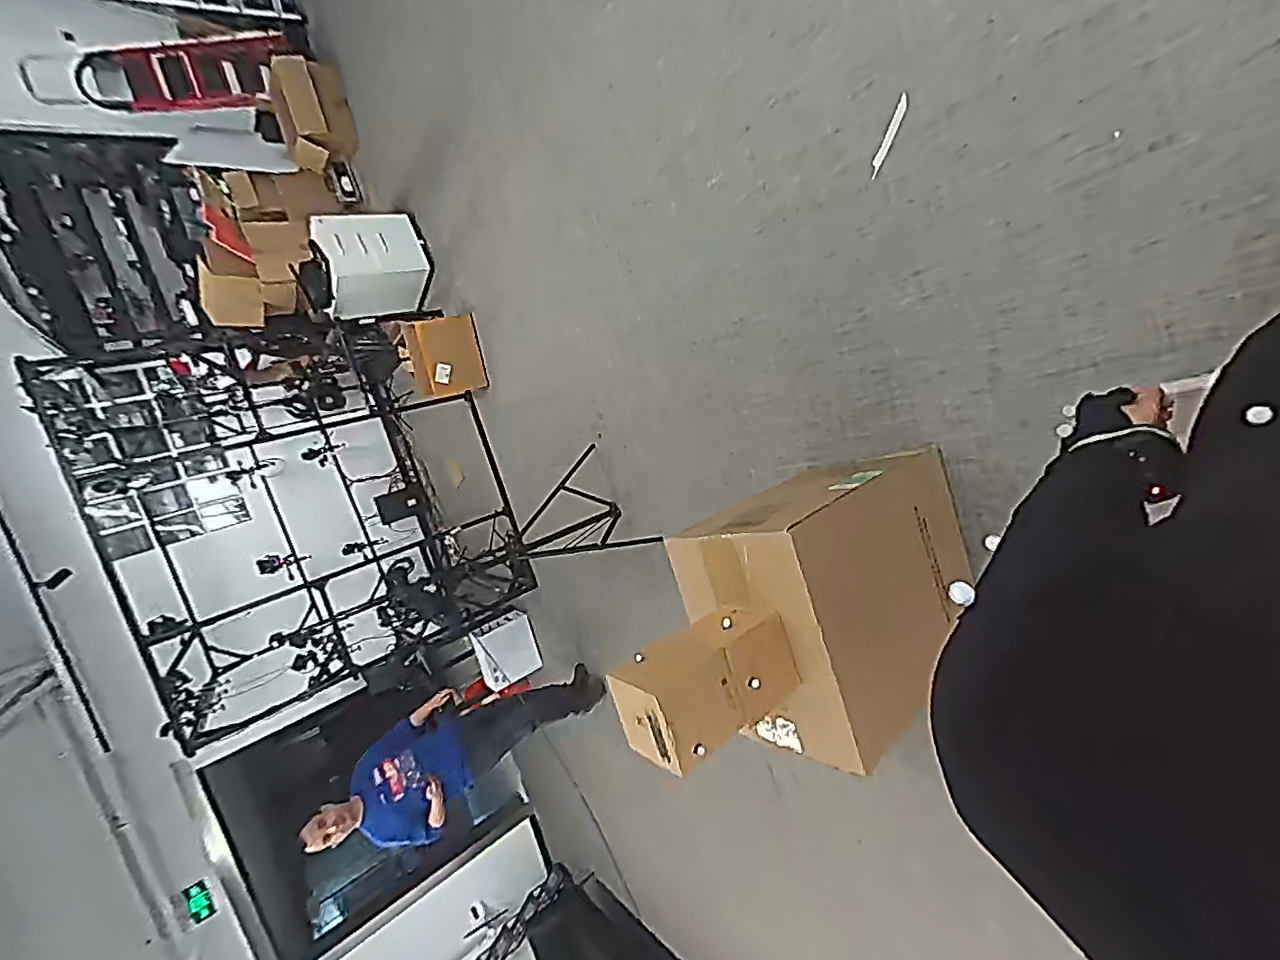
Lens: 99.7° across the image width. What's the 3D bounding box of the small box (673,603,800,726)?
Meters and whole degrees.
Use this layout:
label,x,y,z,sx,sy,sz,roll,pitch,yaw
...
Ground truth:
label,x,y,z,sx,sy,sz,roll,pitch,yaw
small box,0.204,0.373,1.133,0.168,0.176,0.179,-12,99,55
